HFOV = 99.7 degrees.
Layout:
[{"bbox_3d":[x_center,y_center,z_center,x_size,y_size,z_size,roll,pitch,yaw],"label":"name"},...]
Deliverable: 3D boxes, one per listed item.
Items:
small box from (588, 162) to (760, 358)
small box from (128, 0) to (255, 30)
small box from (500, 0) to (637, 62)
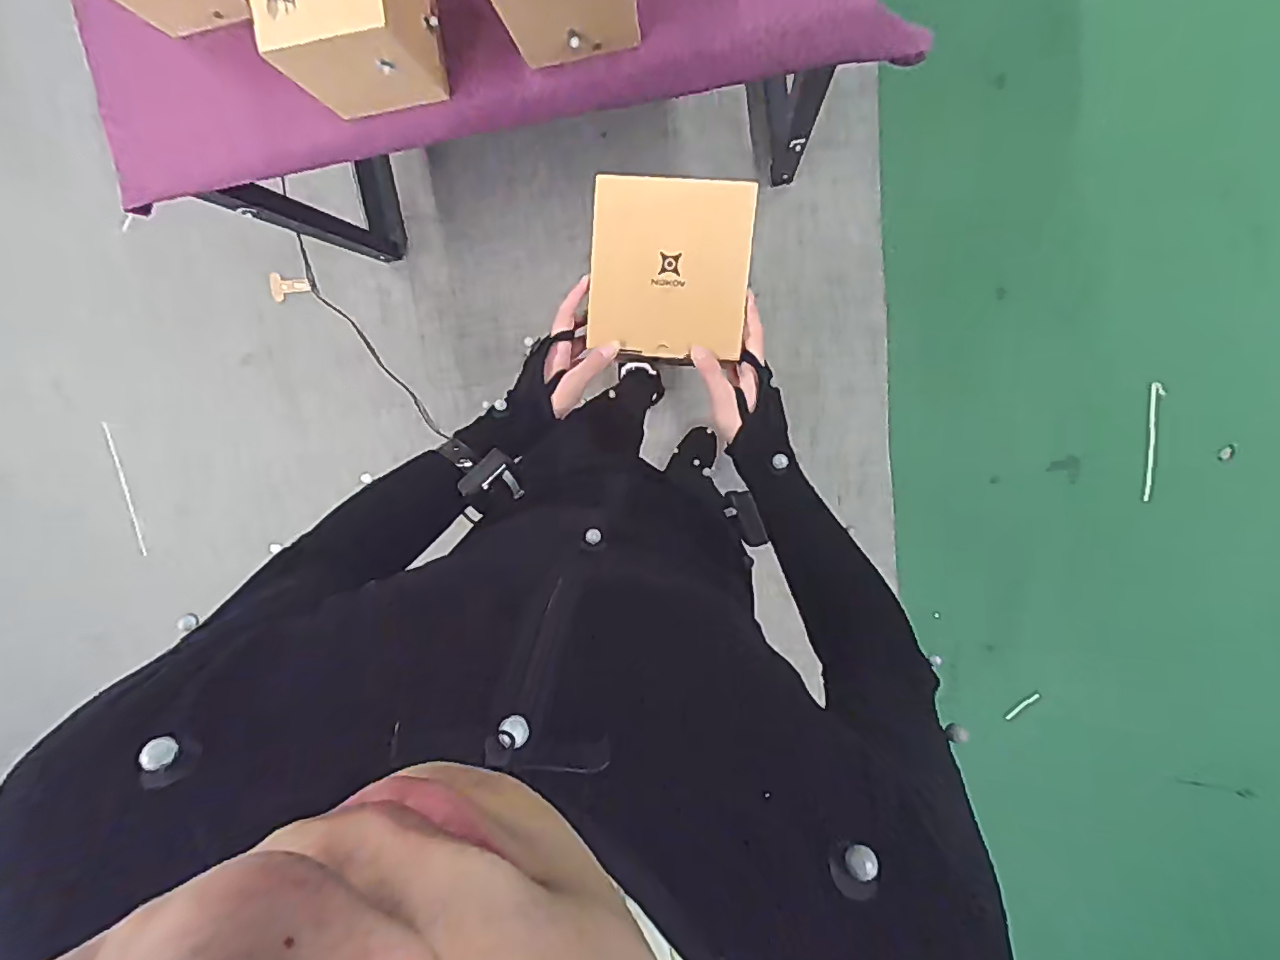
[{"bbox_3d":[0.037,-0.241,0.631,0.168,0.176,0.179,5,101,4],"label":"small box"},{"bbox_3d":[-0.675,-0.773,0.735,0.168,0.176,0.179,-6,100,10],"label":"small box"},{"bbox_3d":[-0.102,-0.680,0.679,0.168,0.176,0.179,-5,99,9],"label":"small box"}]
